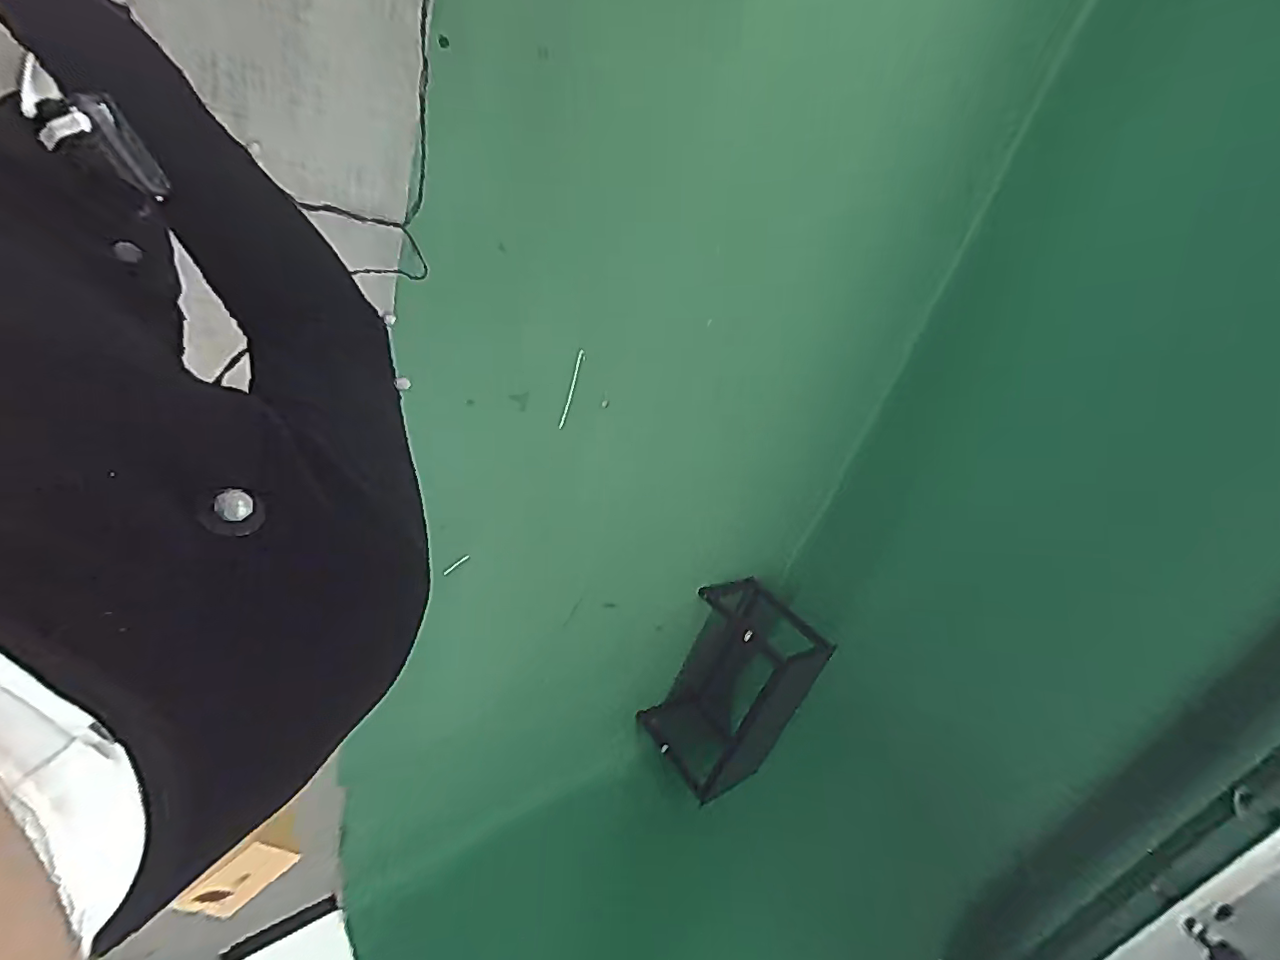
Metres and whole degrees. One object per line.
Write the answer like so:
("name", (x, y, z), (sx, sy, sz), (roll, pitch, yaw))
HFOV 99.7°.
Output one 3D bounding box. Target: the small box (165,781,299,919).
("small box", (-0.907, 0.818, 1.203), (0.179, 0.176, 0.168), (-35, 139, -20))
